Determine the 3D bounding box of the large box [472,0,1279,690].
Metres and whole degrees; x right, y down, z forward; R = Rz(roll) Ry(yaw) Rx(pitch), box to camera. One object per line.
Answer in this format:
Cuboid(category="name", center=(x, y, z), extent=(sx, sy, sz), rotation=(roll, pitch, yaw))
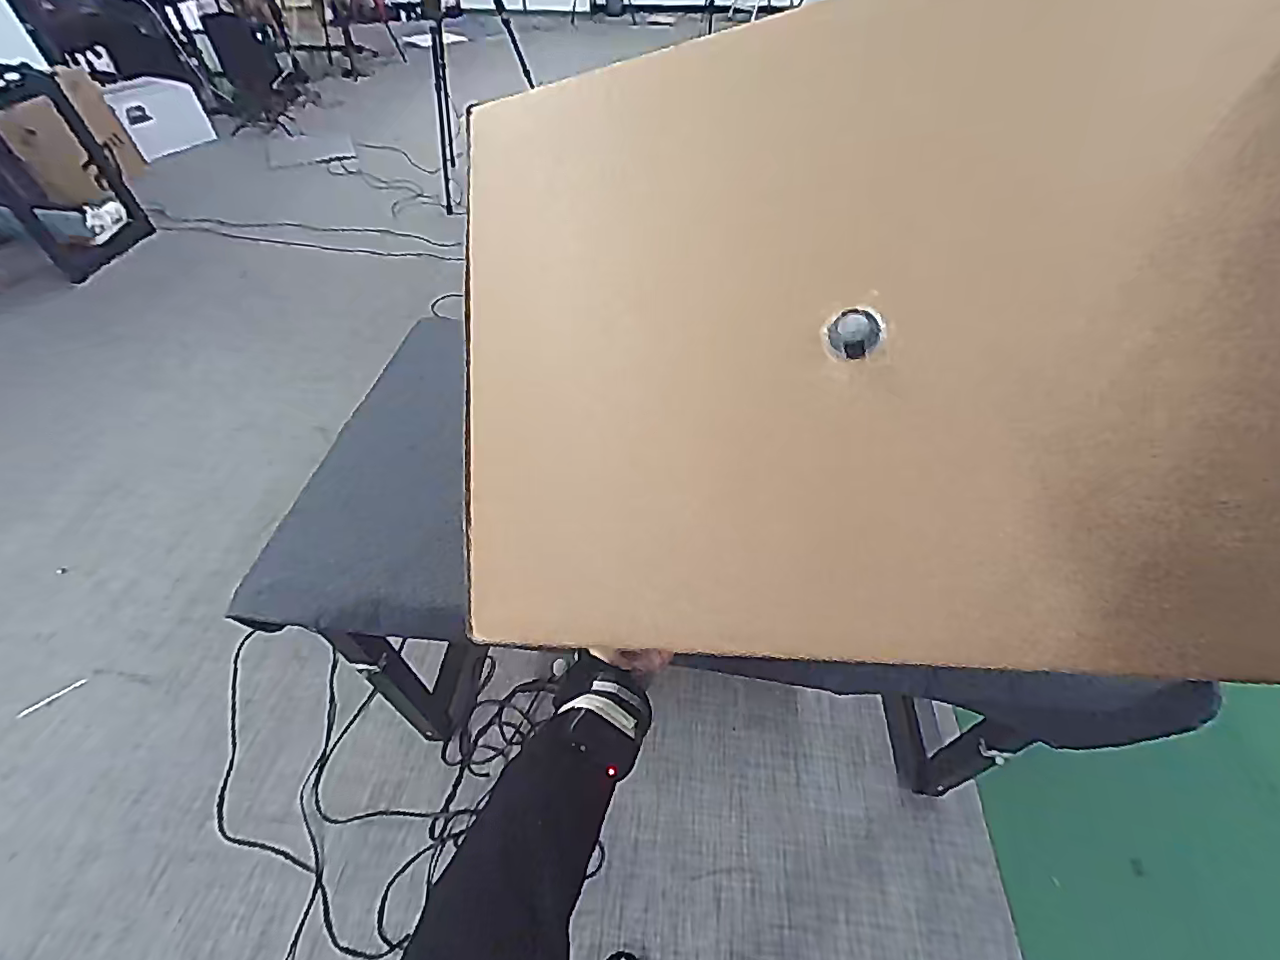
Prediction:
Cuboid(category="large box", center=(0.143, -0.055, 0.394), extent=(0.408, 0.320, 0.320), rotation=(-5, 85, 17))
